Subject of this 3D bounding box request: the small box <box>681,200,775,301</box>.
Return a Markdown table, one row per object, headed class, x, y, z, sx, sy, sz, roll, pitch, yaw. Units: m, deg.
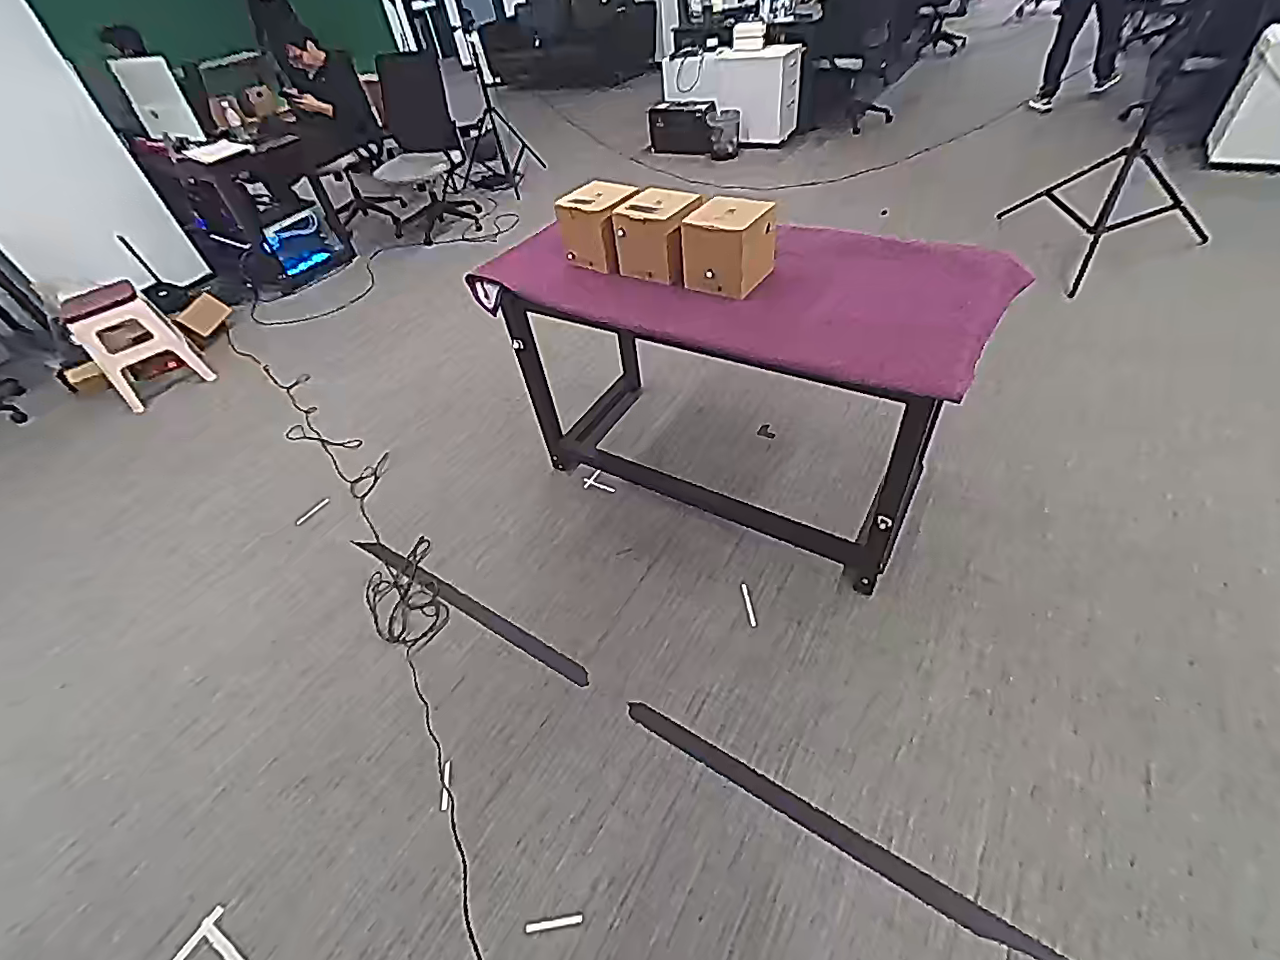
| class | x | y | z | sx | sy | sz | roll | pitch | yaw |
| --- | --- | --- | --- | --- | --- | --- | --- | --- | --- |
| small box | 0.216 | -0.569 | 1.337 | 0.168 | 0.176 | 0.179 | 23 | 53 | 29 |
